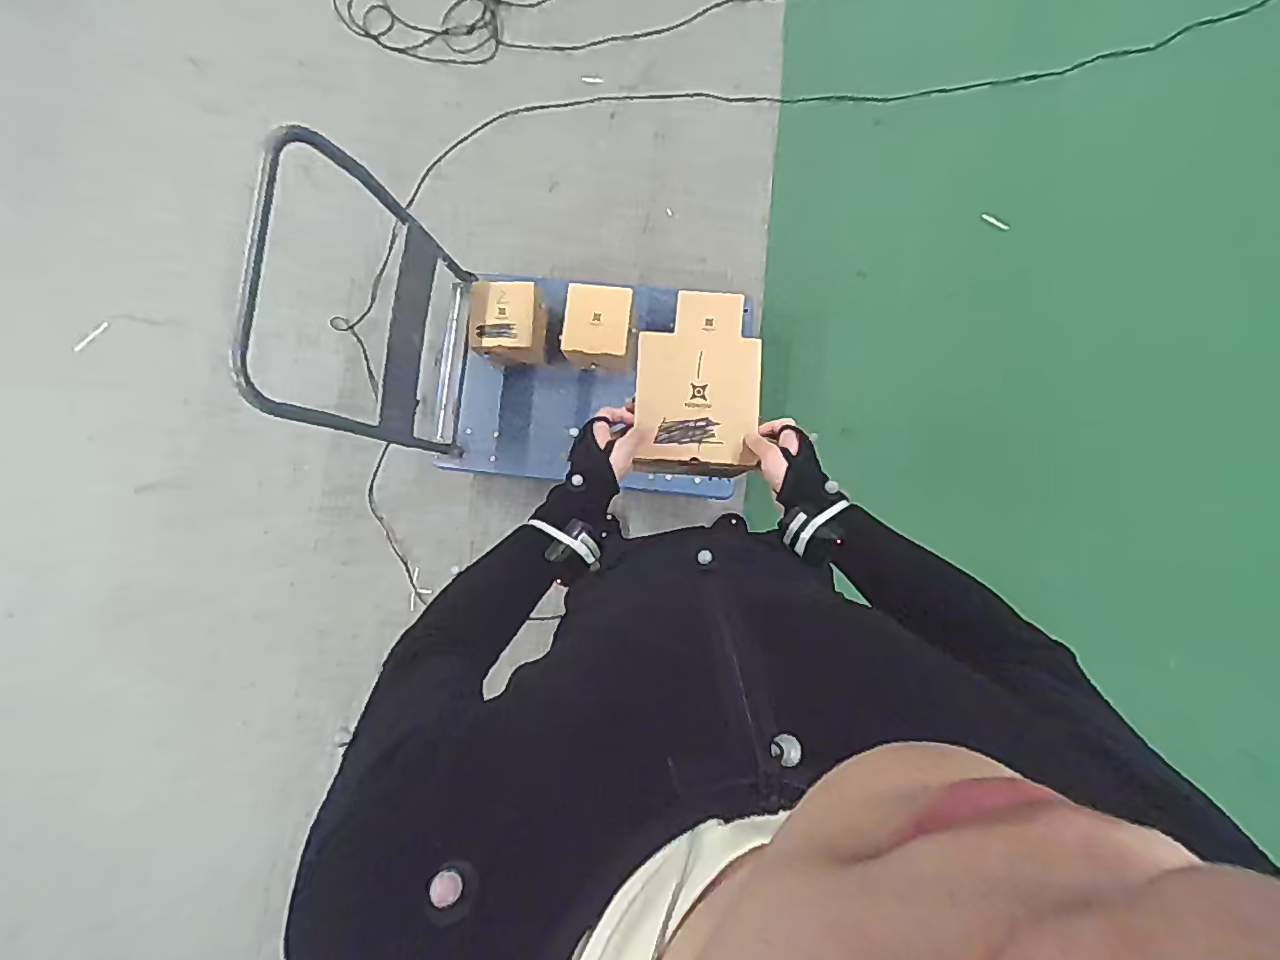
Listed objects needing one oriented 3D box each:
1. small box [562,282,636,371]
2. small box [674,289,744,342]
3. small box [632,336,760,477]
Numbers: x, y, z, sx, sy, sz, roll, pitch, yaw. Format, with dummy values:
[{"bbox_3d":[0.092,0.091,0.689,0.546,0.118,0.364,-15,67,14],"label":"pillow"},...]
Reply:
[{"bbox_3d":[-0.104,-0.403,1.441,0.168,0.176,0.179,6,88,4],"label":"small box"},{"bbox_3d":[0.174,-0.378,1.418,0.168,0.176,0.179,5,87,5],"label":"small box"},{"bbox_3d":[0.076,-0.099,0.810,0.168,0.176,0.179,4,85,-1],"label":"small box"}]
